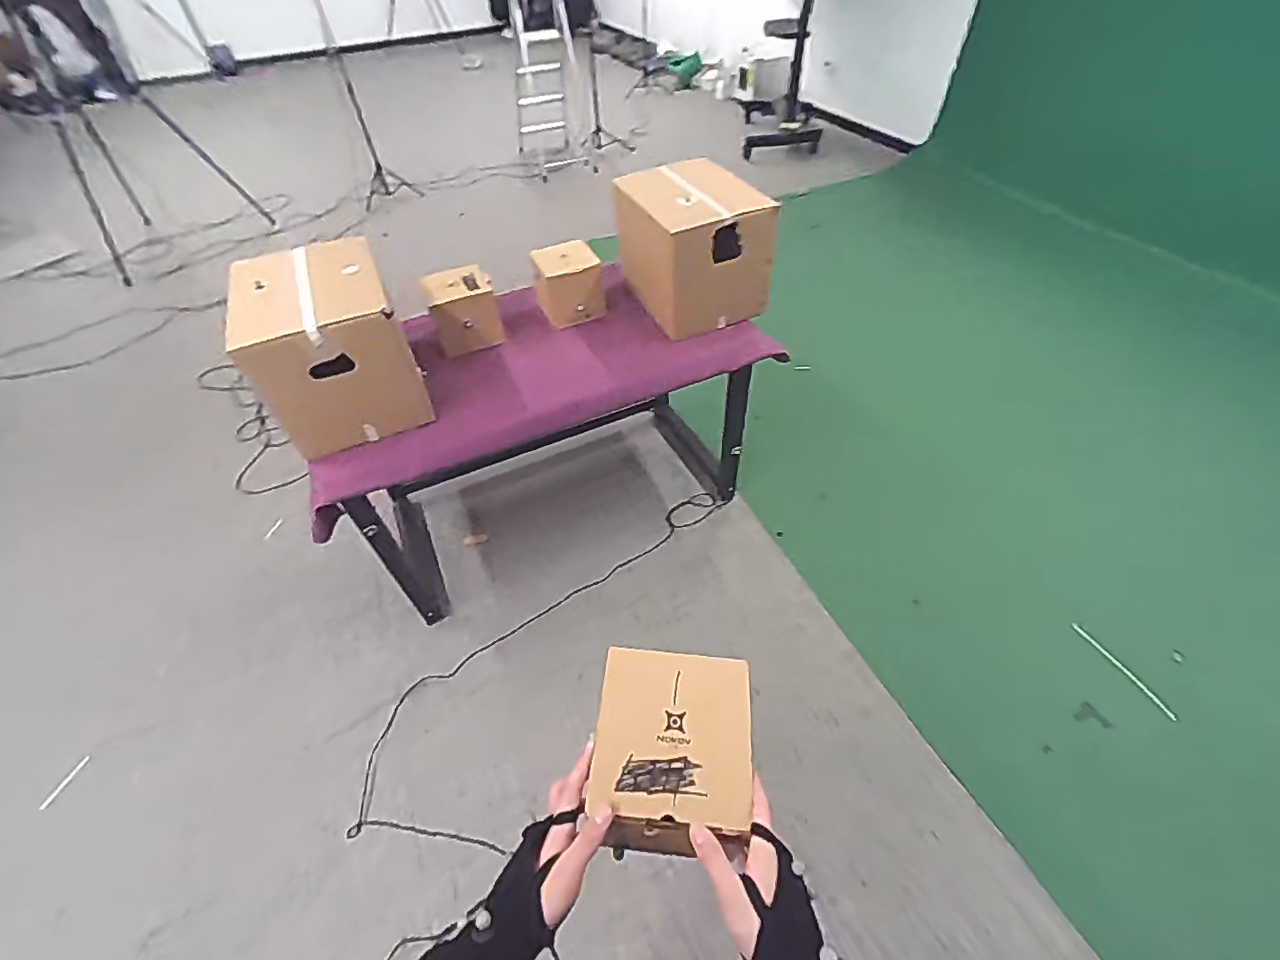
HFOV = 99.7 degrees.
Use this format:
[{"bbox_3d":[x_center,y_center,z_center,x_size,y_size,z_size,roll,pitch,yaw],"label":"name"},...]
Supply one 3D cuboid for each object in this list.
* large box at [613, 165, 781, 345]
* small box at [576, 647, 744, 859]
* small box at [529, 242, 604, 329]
[{"bbox_3d":[0.145,-0.658,1.565,0.320,0.320,0.408,-21,51,-13],"label":"large box"},{"bbox_3d":[0.027,0.320,0.629,0.168,0.176,0.179,5,46,3],"label":"small box"},{"bbox_3d":[-0.215,-0.573,1.597,0.168,0.176,0.179,-20,51,-14],"label":"small box"}]
